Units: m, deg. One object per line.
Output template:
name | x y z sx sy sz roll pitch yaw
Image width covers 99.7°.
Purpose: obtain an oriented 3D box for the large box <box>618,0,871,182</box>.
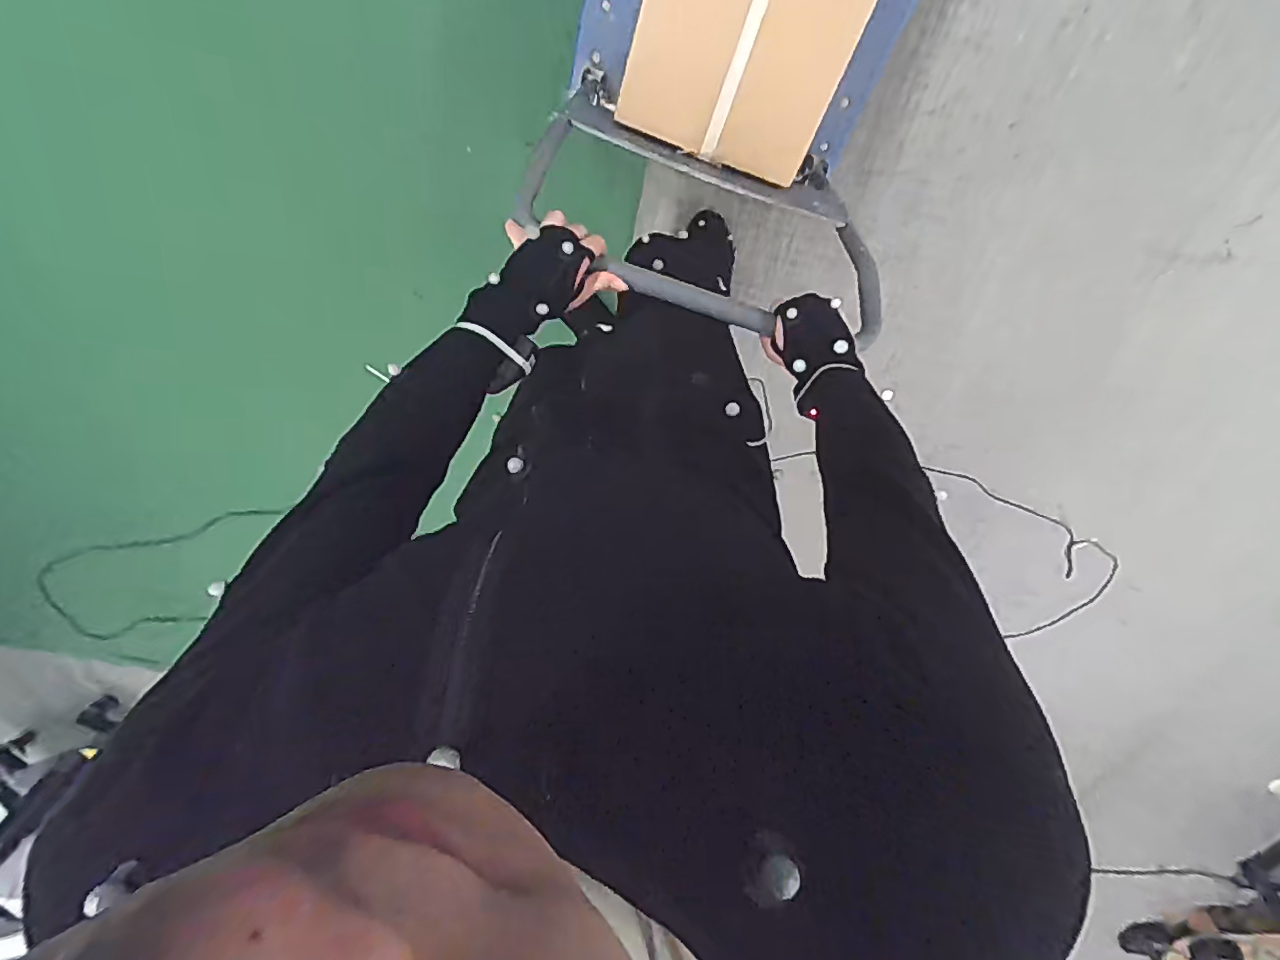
large box | 0.176 -0.782 0.888 0.320 0.320 0.408 16 129 -10
